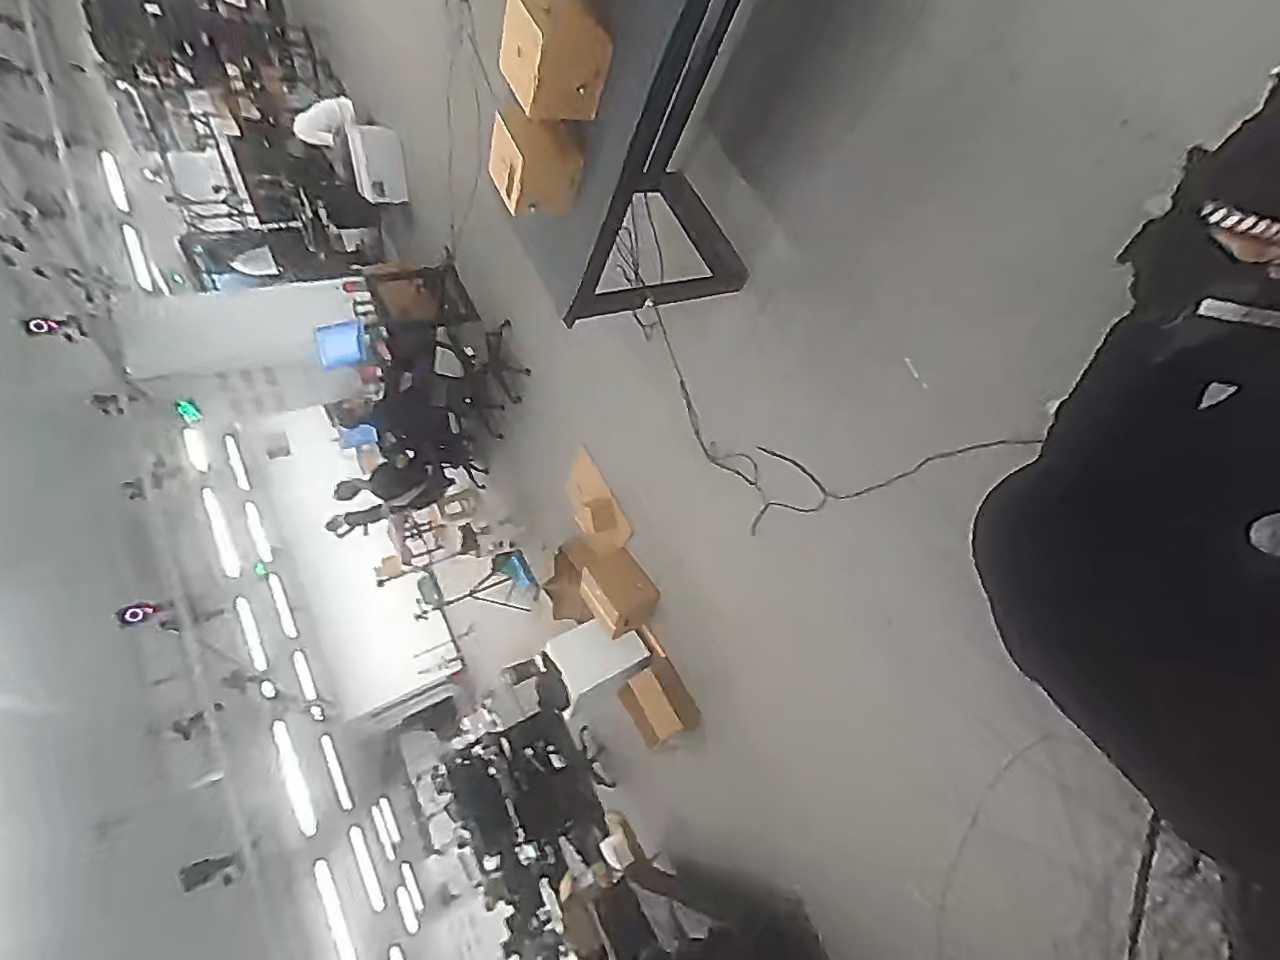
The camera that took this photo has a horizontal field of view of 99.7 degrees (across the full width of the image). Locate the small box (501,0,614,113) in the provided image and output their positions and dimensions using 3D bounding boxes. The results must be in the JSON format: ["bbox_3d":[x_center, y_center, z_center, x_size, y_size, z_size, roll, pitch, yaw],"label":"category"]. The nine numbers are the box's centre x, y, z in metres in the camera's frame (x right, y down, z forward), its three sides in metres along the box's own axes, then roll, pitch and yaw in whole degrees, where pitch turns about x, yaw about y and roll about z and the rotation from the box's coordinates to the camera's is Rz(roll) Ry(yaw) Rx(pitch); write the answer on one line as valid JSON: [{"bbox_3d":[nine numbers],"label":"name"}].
[{"bbox_3d":[-0.184,-0.939,1.187,0.179,0.176,0.168,61,149,15],"label":"small box"}]
